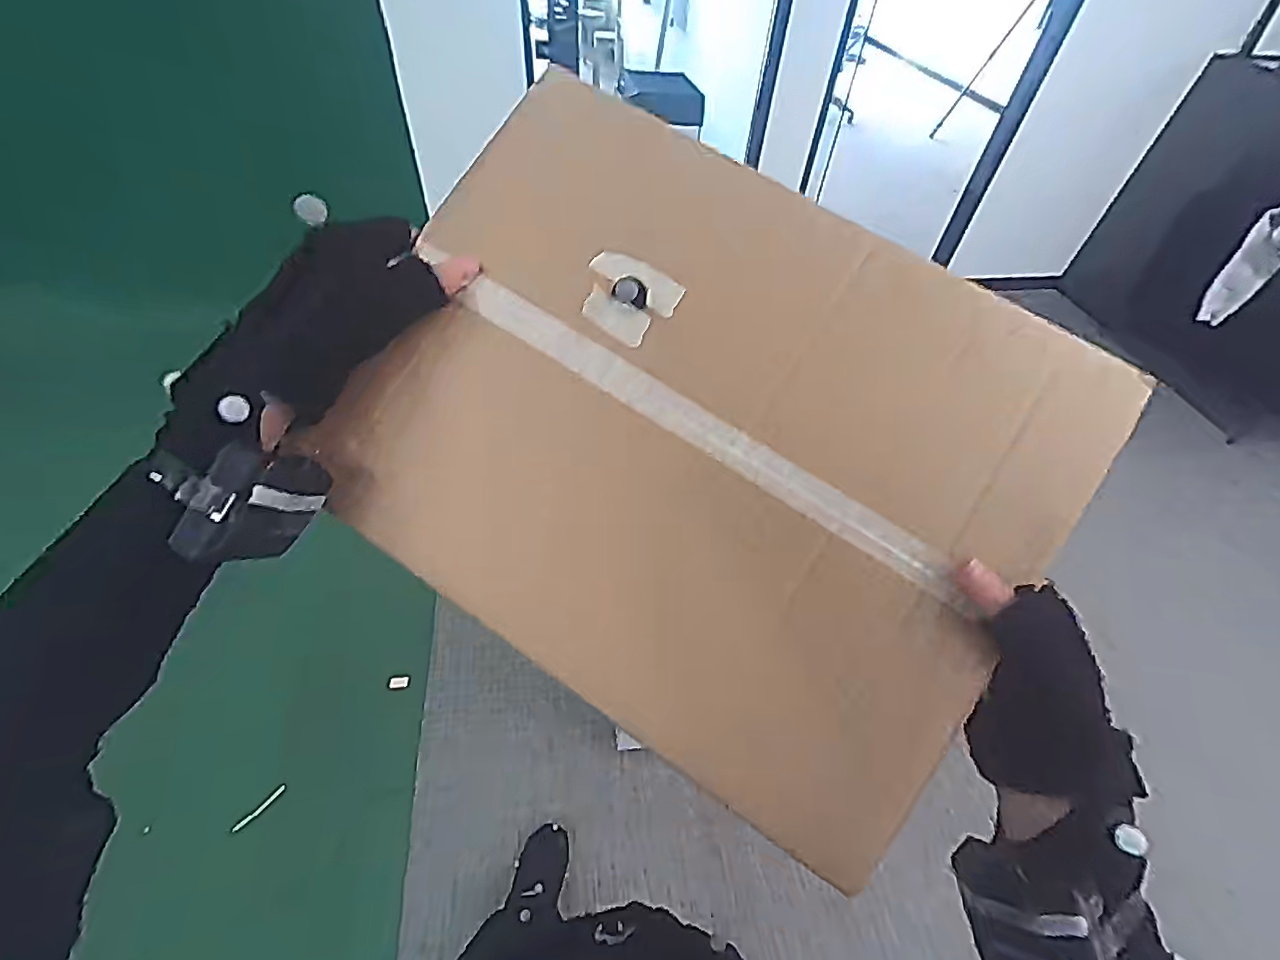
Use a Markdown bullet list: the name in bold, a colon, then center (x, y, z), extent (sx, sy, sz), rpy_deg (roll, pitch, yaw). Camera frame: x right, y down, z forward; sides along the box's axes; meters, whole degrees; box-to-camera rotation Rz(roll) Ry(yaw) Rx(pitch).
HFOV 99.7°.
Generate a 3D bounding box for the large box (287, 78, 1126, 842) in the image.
- **large box**: center (0.038, -0.020, 0.464), extent (0.408, 0.320, 0.320), rpy_deg (34, 86, 11)
